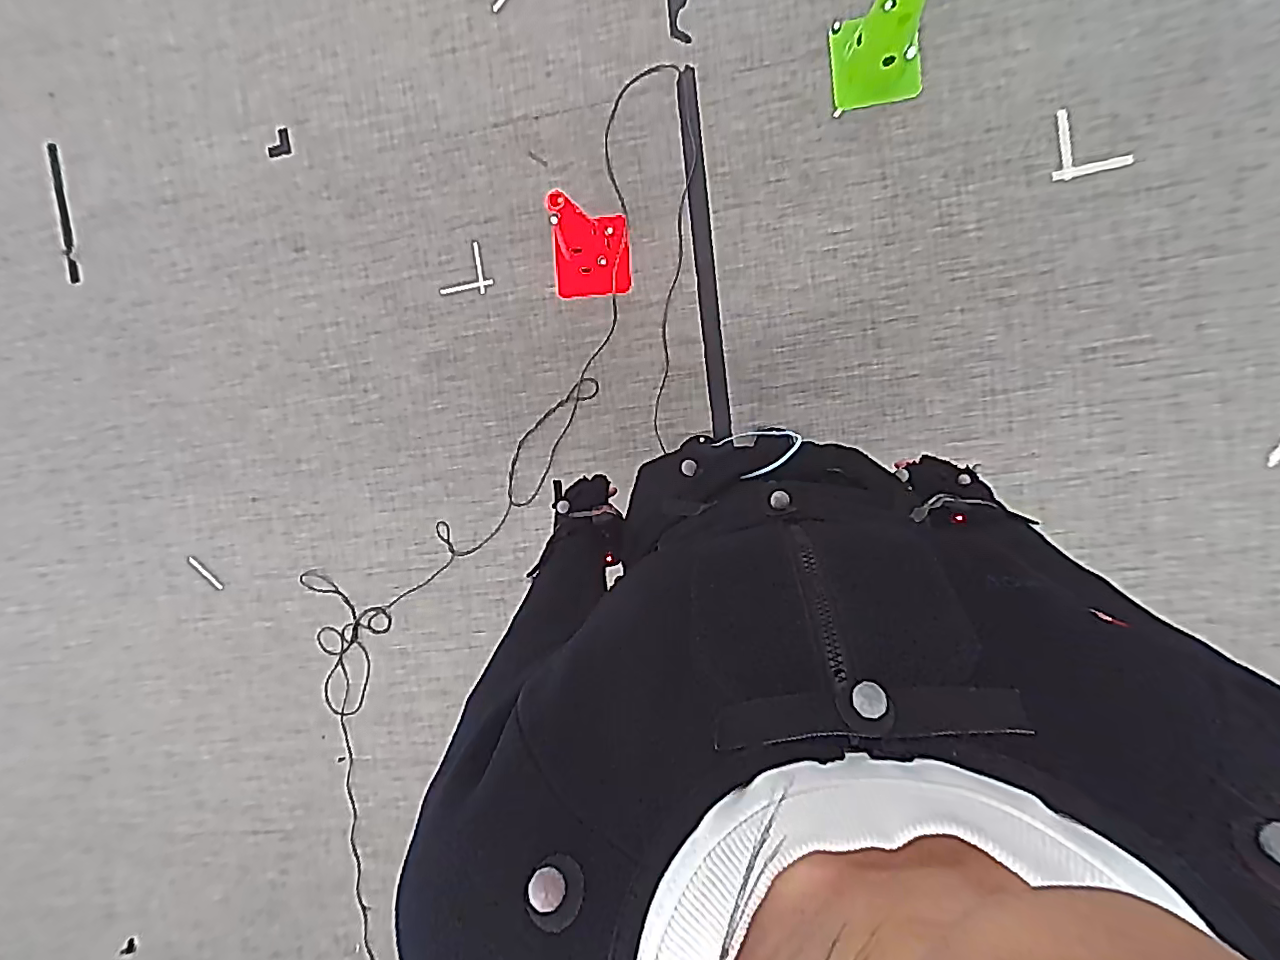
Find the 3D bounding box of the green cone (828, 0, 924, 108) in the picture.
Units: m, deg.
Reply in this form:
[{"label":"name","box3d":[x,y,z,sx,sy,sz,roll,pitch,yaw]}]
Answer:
[{"label":"green cone","box3d":[0.538,-0.986,1.116,0.202,0.368,0.200,-6,94,6]}]

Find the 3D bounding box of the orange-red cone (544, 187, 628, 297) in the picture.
[{"label":"orange-red cone","box3d":[-0.151,-0.571,1.241,0.199,0.360,0.198,-2,93,8]}]
